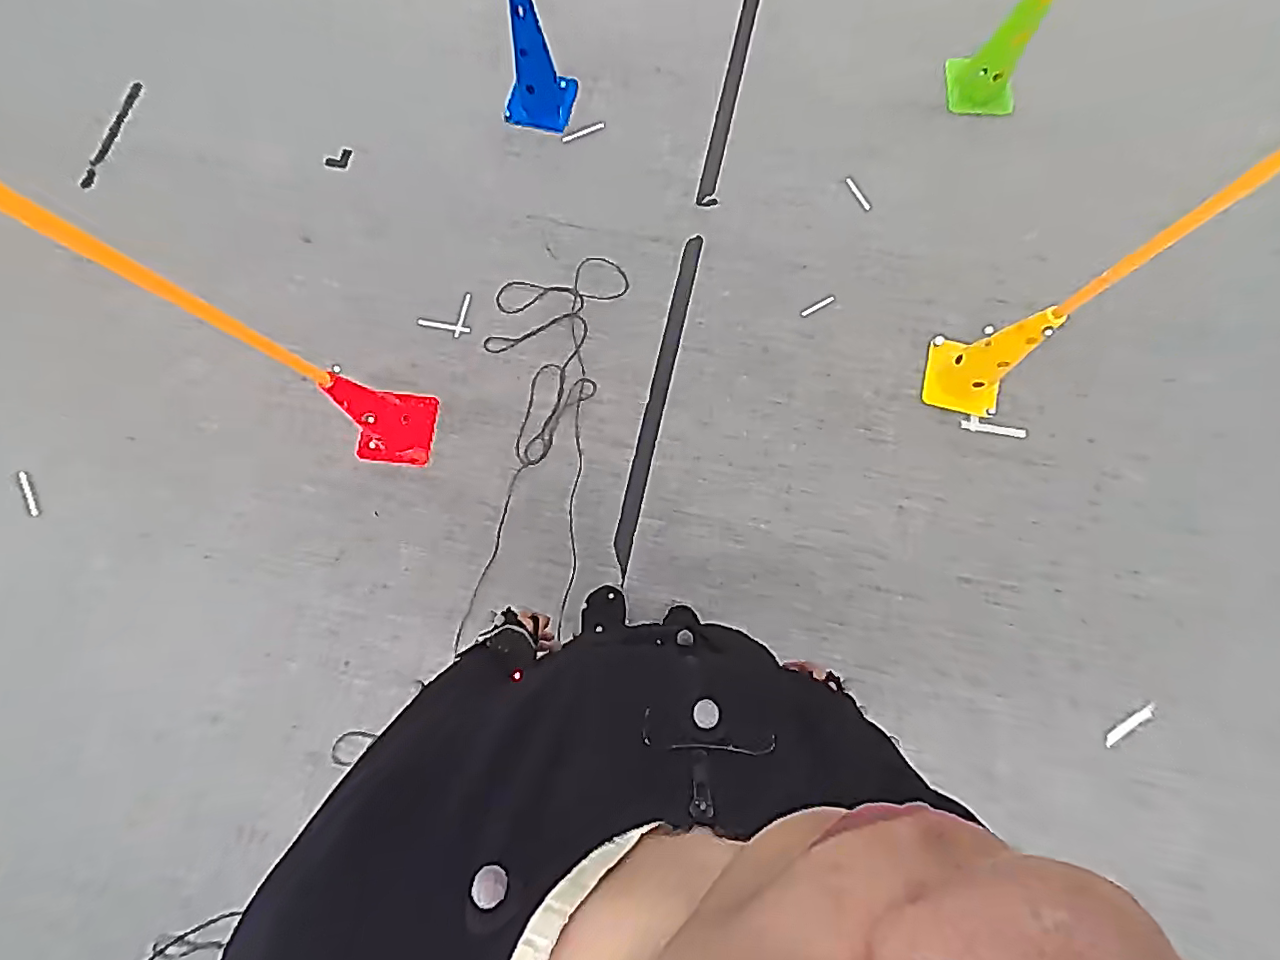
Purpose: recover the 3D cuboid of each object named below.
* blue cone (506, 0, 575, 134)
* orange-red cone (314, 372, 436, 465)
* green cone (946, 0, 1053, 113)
[{"bbox_3d":[-0.311,-1.207,1.527,0.193,0.380,0.192,15,79,4],"label":"blue cone"},{"bbox_3d":[-0.664,-0.177,1.303,0.199,0.360,0.198,7,79,1],"label":"orange-red cone"},{"bbox_3d":[1.053,-1.261,1.513,0.200,0.368,0.202,2,80,1],"label":"green cone"}]
